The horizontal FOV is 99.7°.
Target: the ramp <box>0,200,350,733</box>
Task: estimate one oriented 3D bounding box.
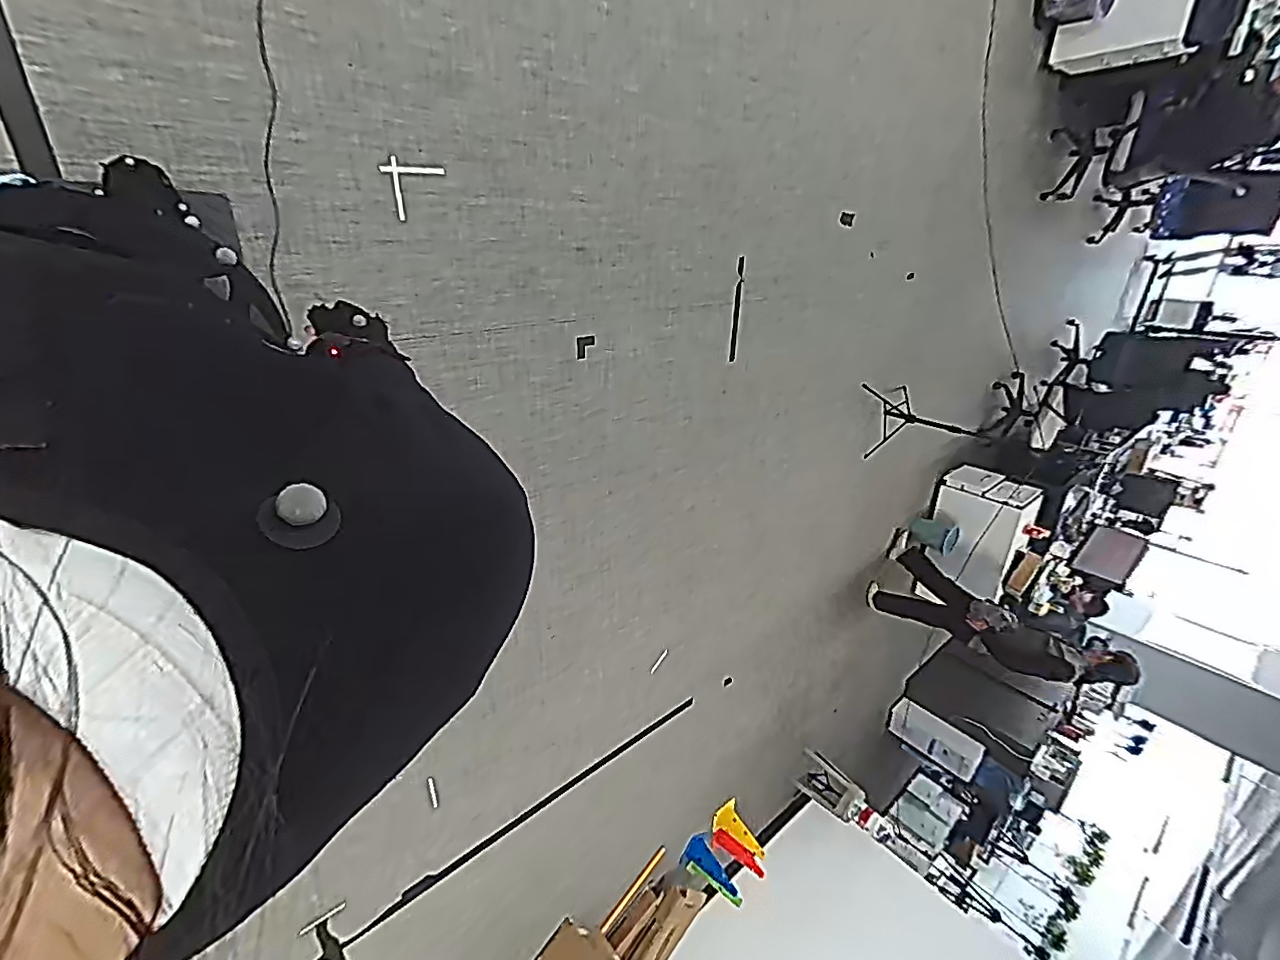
[{"bbox_3d":[-0.977,-0.025,1.104,0.509,0.206,0.991,-18,118,-34],"label":"ramp"}]
